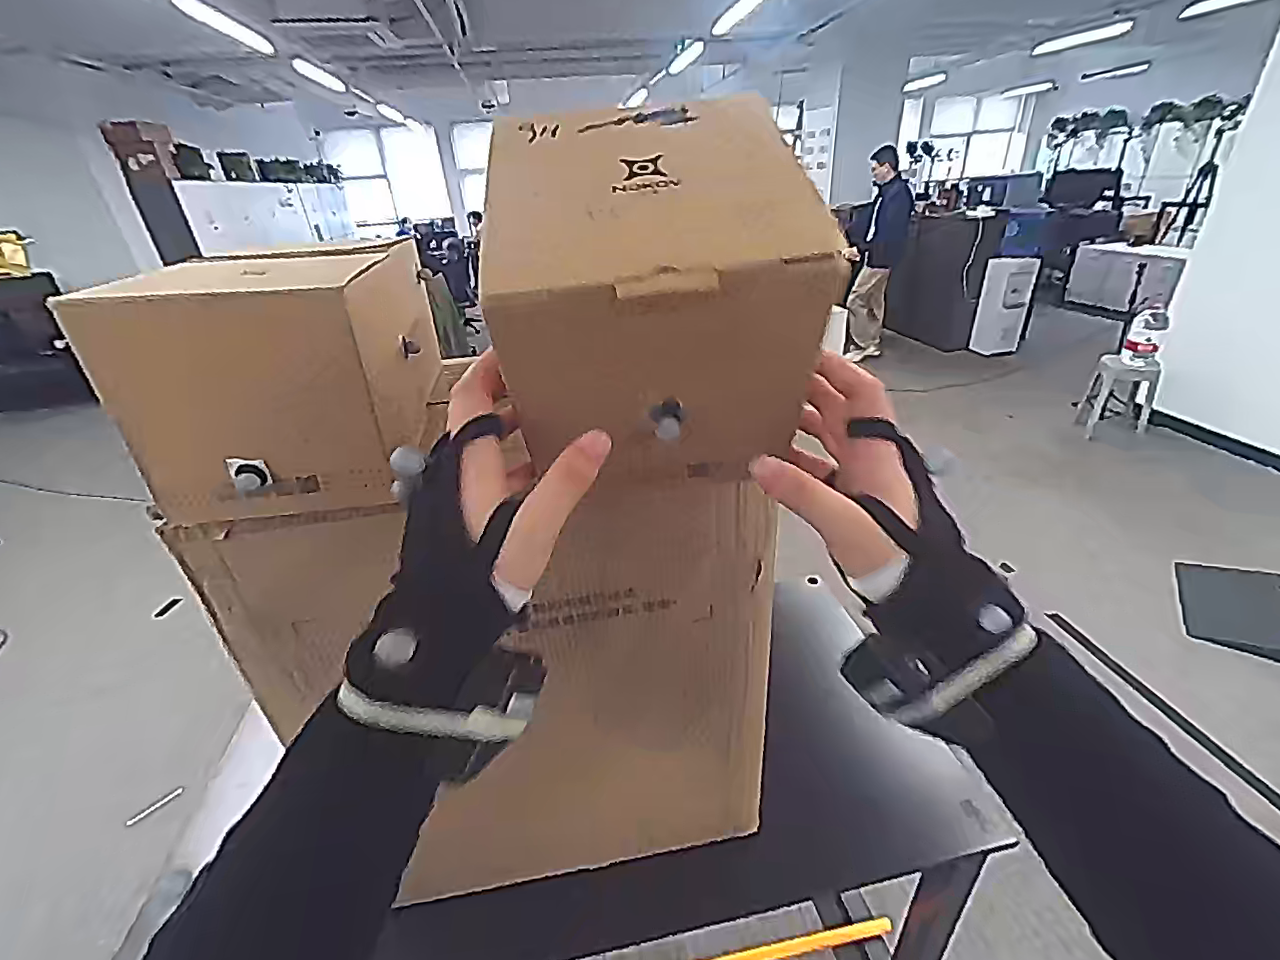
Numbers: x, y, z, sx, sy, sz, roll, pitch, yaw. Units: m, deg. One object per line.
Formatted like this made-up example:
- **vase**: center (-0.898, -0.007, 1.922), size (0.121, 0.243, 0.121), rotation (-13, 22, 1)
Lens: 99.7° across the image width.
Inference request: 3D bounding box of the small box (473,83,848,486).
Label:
- **small box**: center (0.005, -0.108, 0.340), size (0.168, 0.176, 0.179), rotation (-7, 58, -2)

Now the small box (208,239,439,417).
- **small box**: center (-0.342, -0.182, 0.629), size (0.168, 0.176, 0.179), rotation (-8, 27, -9)
